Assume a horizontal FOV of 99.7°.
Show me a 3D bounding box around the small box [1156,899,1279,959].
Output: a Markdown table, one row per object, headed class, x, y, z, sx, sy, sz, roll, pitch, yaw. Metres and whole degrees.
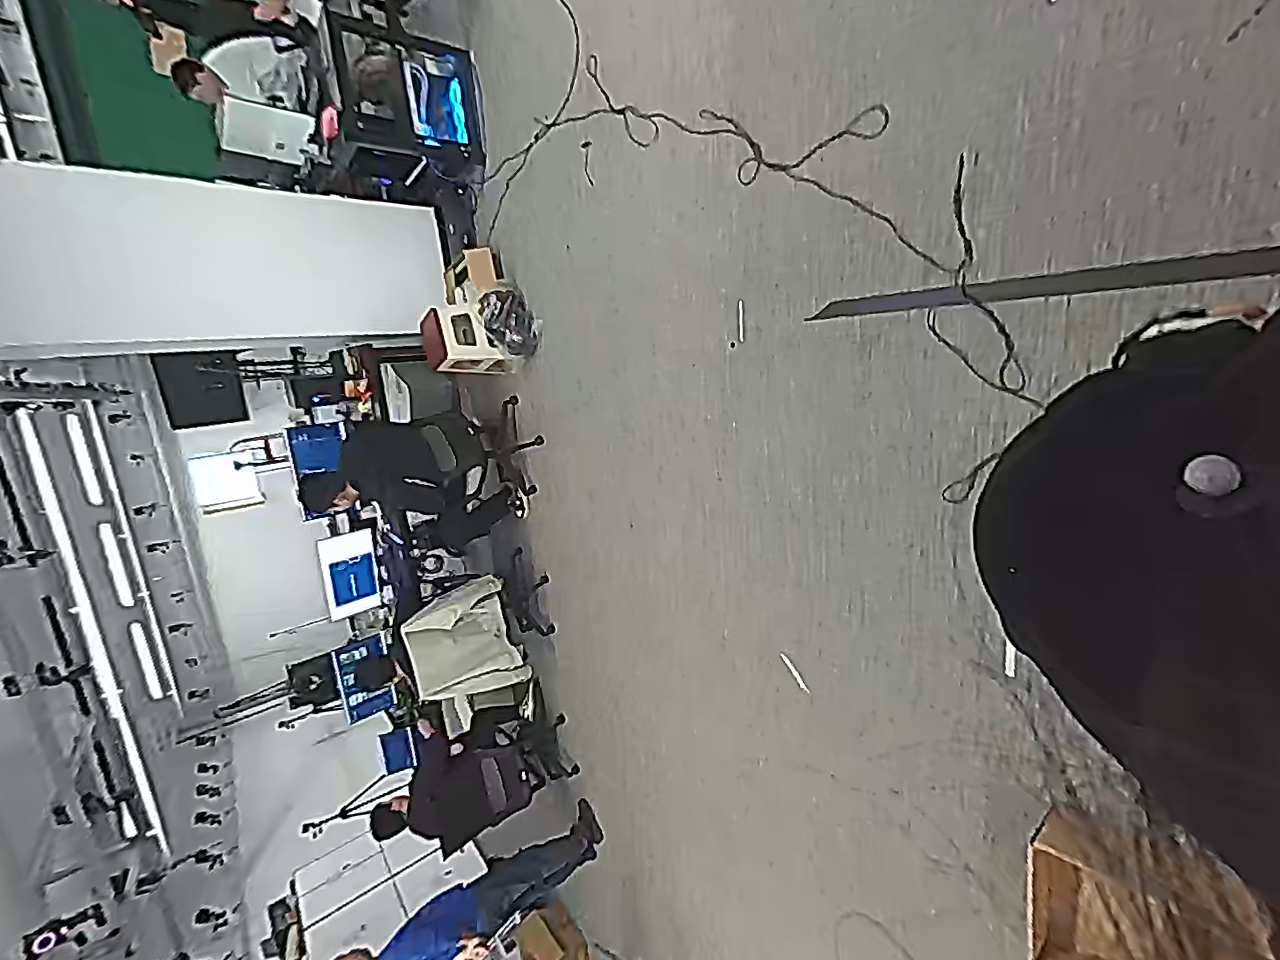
| class | x | y | z | sx | sy | sz | roll | pitch | yaw |
| --- | --- | --- | --- | --- | --- | --- | --- | --- | --- |
| small box | 1.220 | 1.052 | 1.138 | 0.168 | 0.176 | 0.179 | -2 | 99 | 52 |
